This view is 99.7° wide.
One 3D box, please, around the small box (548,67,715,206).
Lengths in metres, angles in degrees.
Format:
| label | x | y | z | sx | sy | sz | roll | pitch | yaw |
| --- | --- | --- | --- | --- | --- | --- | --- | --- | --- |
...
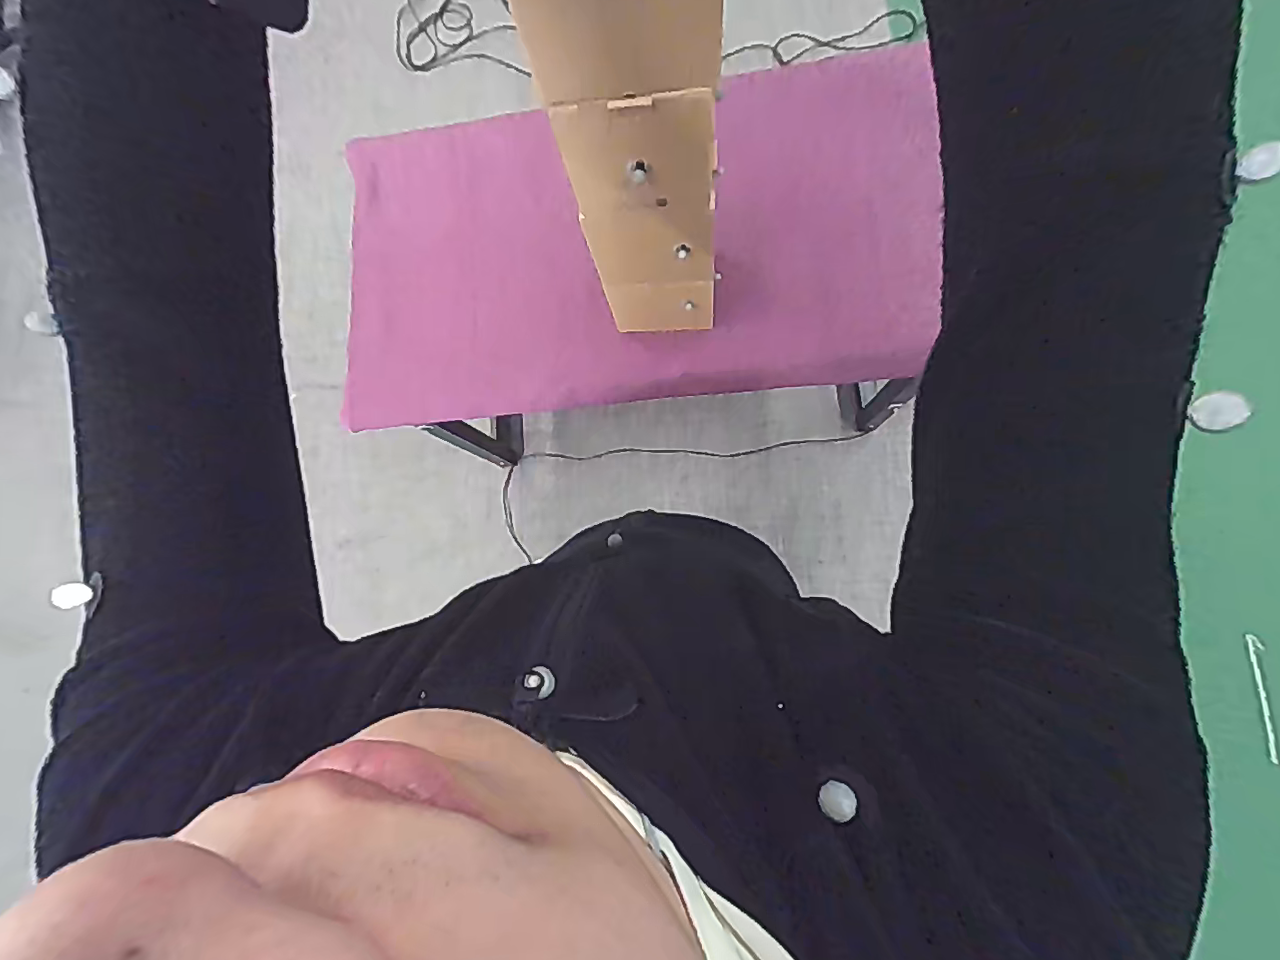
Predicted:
| label | x | y | z | sx | sy | sz | roll | pitch | yaw |
| --- | --- | --- | --- | --- | --- | --- | --- | --- | --- |
| small box | 0.001 | -0.436 | 0.614 | 0.168 | 0.176 | 0.179 | 0 | 80 | 7 |

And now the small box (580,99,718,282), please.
| label | x | y | z | sx | sy | sz | roll | pitch | yaw |
| --- | --- | --- | --- | --- | --- | --- | --- | --- | --- |
| small box | 0.021 | -0.402 | 0.772 | 0.179 | 0.176 | 0.168 | 0 | 80 | 8 |

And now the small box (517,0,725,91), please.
| label | x | y | z | sx | sy | sz | roll | pitch | yaw |
| --- | --- | --- | --- | --- | --- | --- | --- | --- | --- |
| small box | -0.019 | -0.468 | 0.454 | 0.179 | 0.176 | 0.168 | -2 | 79 | 6 |
